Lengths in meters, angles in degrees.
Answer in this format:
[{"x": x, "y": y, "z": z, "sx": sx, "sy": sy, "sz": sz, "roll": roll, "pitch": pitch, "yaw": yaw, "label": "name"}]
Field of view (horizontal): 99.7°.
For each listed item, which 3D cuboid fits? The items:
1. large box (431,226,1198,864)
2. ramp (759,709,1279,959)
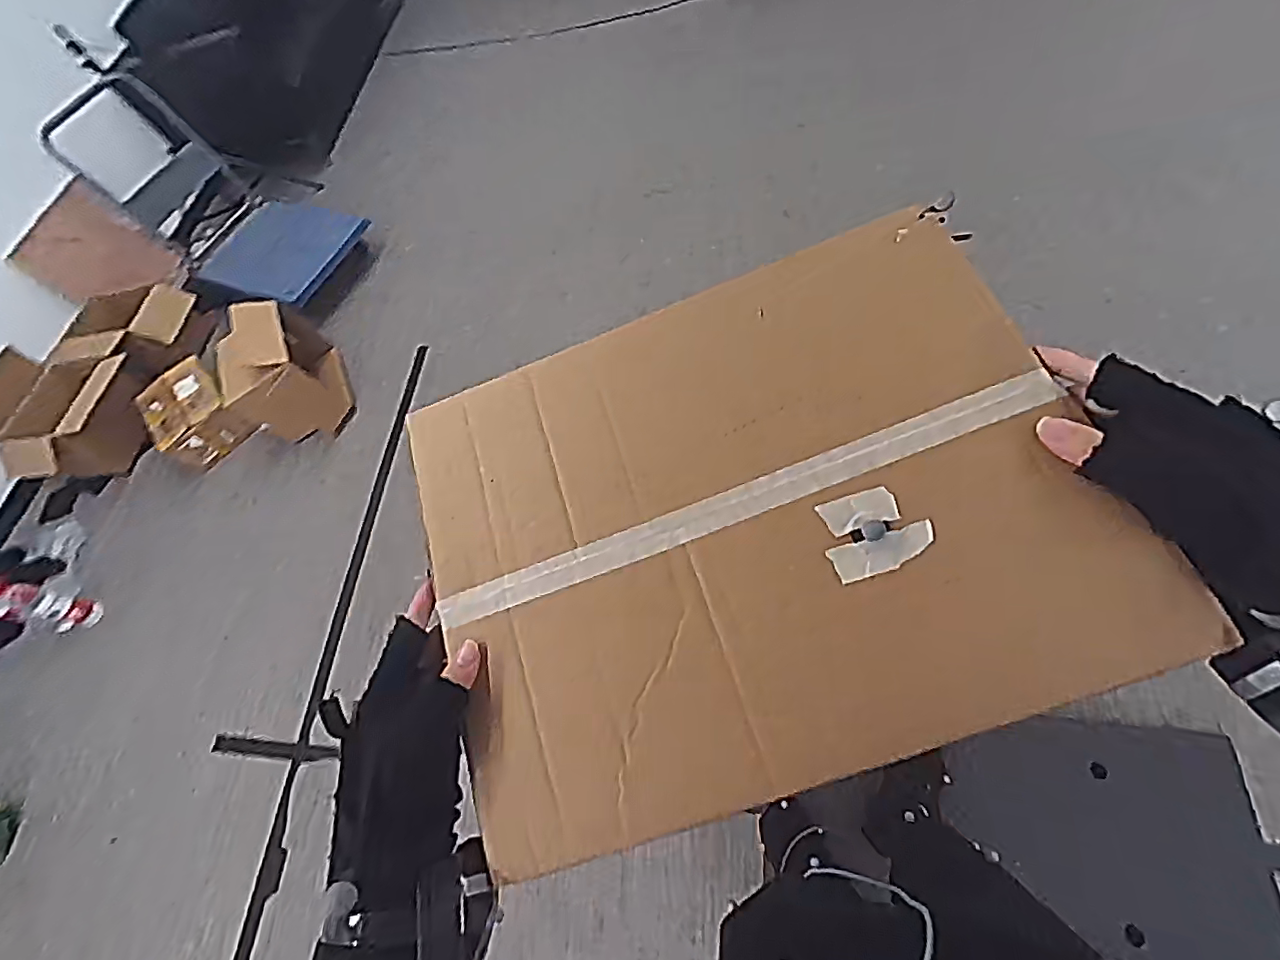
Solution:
[{"x": 0.094, "y": 0.066, "z": 0.489, "sx": 0.408, "sy": 0.320, "sz": 0.320, "roll": -21, "pitch": 69, "yaw": 4, "label": "large box"}, {"x": 0.756, "y": 0.739, "z": 1.138, "sx": 0.991, "sy": 0.206, "sz": 0.509, "roll": -2, "pitch": 62, "yaw": 14, "label": "ramp"}]
